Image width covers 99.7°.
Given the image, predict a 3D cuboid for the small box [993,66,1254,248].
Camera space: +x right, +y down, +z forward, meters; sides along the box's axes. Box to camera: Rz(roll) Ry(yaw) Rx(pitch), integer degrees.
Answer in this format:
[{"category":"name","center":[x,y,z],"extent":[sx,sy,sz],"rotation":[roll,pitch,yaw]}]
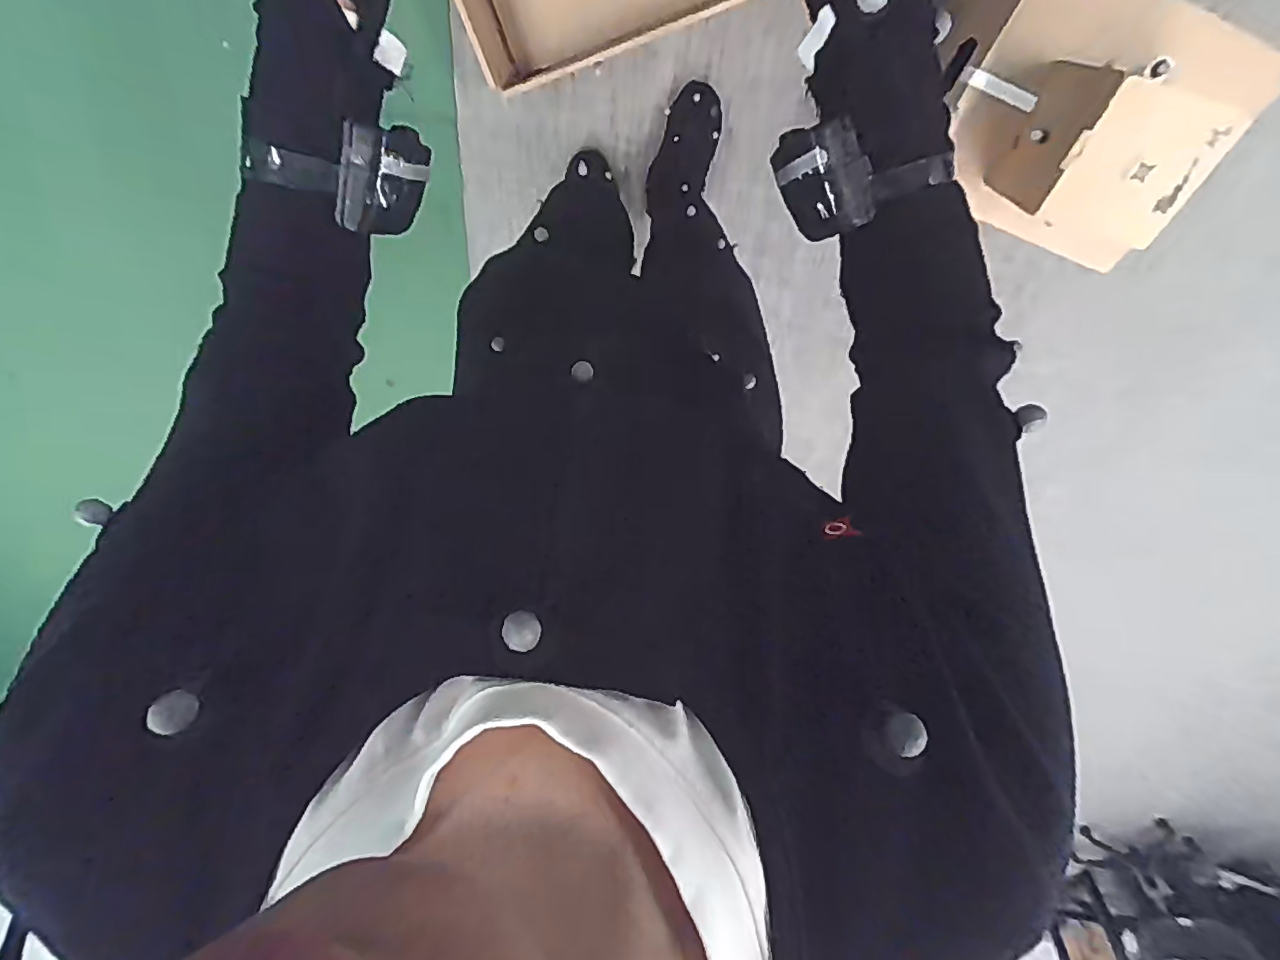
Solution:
[{"category":"small box","center":[0.641,-0.451,0.750],"extent":[0.179,0.176,0.168],"rotation":[14,132,-5]}]
